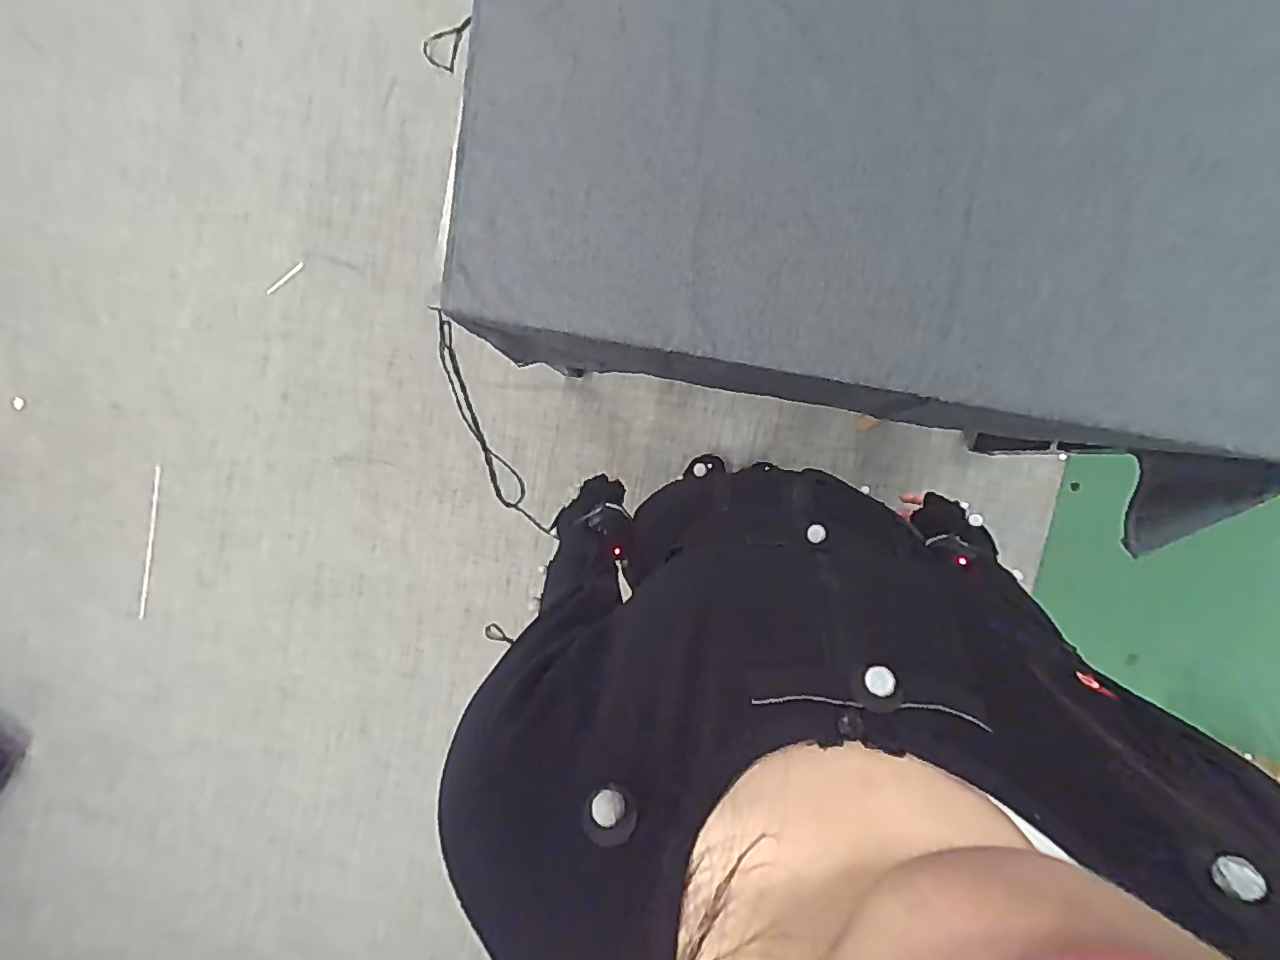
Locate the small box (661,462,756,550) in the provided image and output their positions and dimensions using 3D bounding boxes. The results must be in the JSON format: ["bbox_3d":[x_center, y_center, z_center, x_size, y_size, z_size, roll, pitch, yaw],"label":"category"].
[{"bbox_3d":[0.176,0.067,1.429,0.168,0.176,0.179,-45,72,17],"label":"small box"}]

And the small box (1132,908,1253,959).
[{"bbox_3d":[1.390,1.214,1.335,0.179,0.176,0.168,12,94,6],"label":"small box"}]

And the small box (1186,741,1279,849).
[{"bbox_3d":[1.496,0.762,1.303,0.179,0.176,0.168,16,94,5],"label":"small box"}]
